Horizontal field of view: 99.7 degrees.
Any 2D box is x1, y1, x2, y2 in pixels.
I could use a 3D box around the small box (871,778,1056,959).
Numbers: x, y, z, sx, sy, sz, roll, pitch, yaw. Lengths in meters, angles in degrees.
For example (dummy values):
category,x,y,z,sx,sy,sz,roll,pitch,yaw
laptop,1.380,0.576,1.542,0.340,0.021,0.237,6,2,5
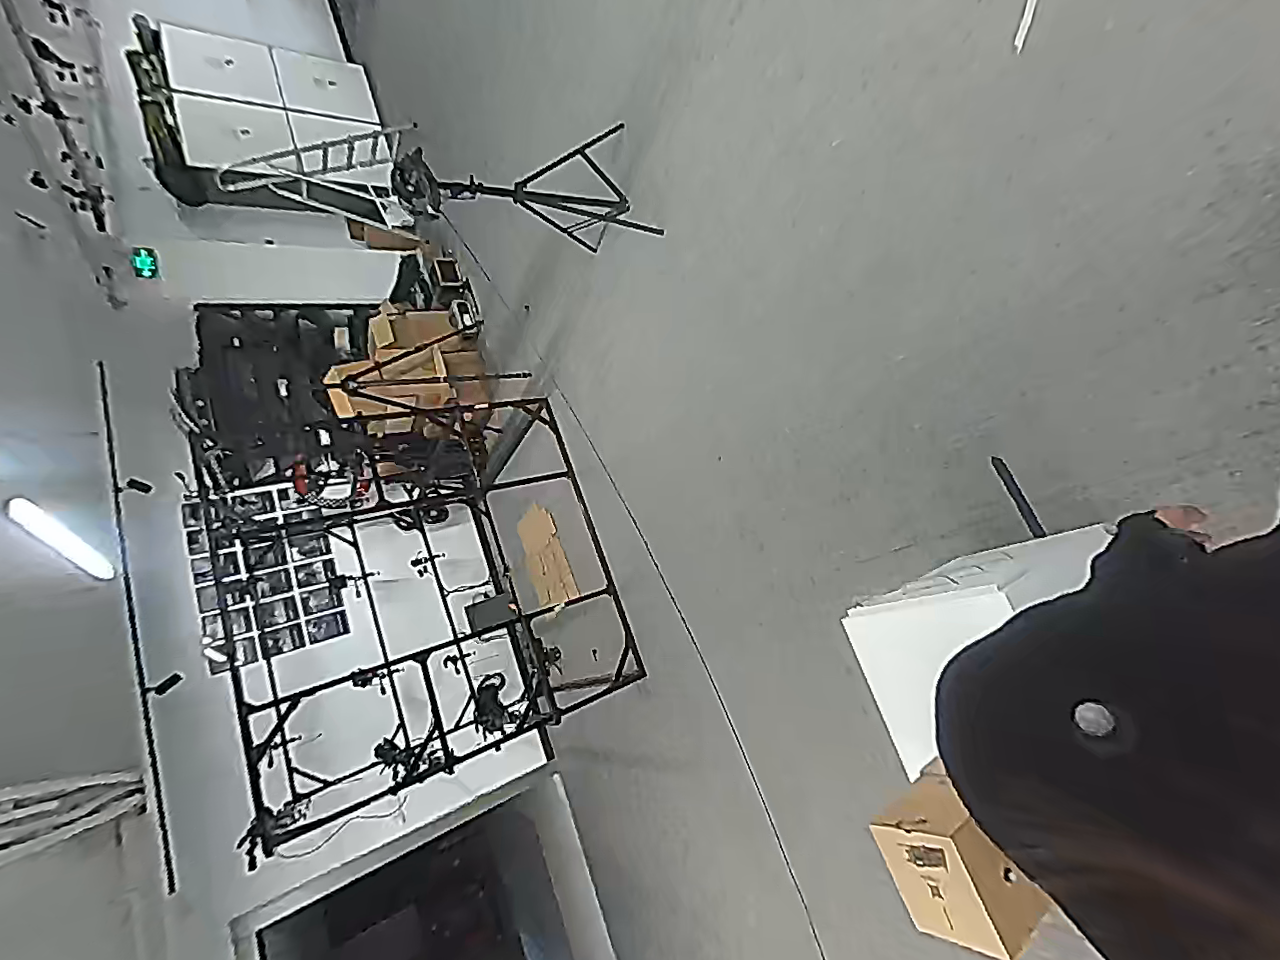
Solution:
category,x,y,z,sx,sy,sz,roll,pitch,yaw
small box,0.530,0.622,0.893,0.168,0.176,0.179,-43,67,55
